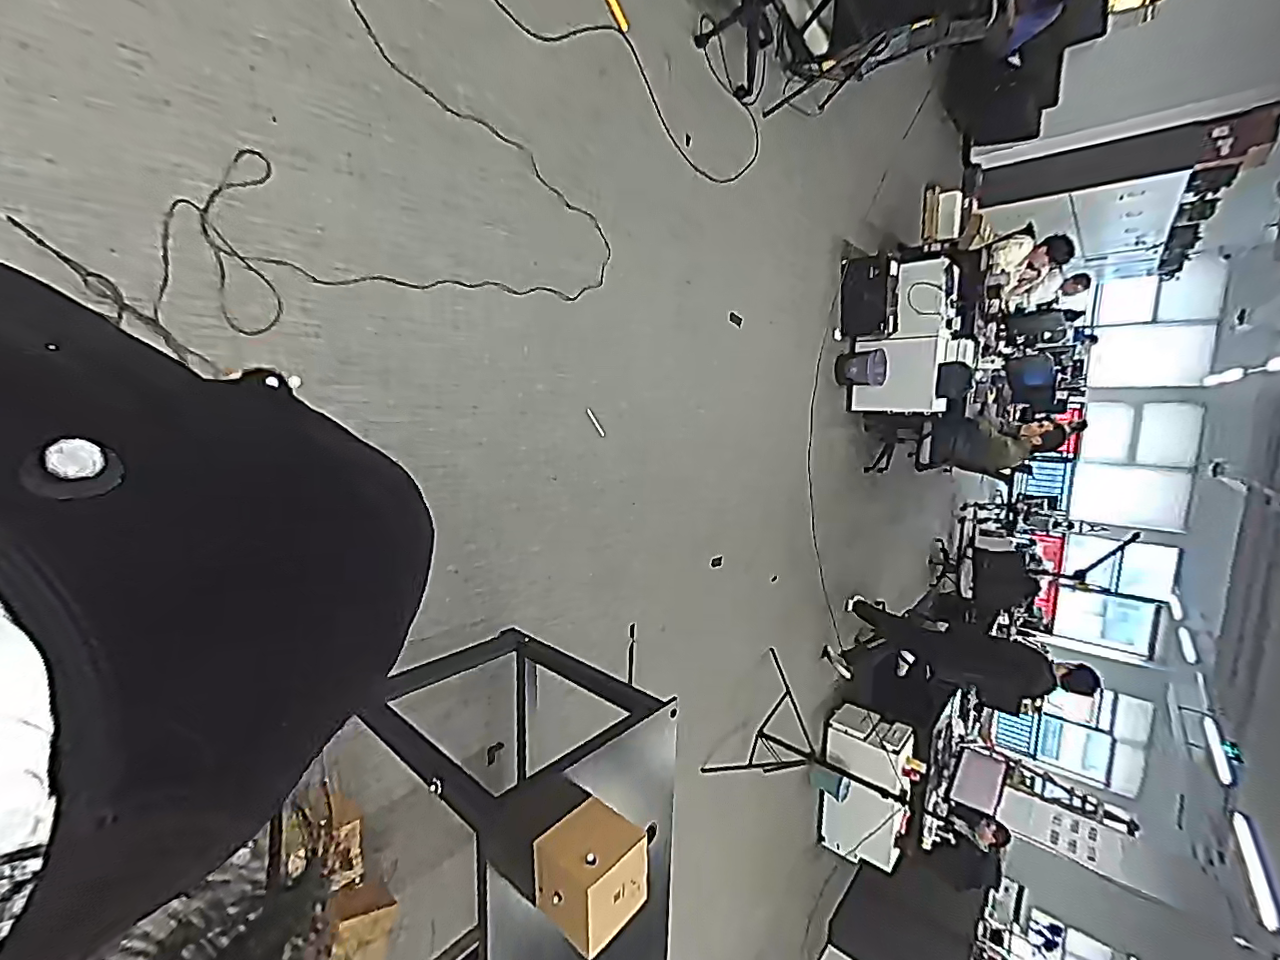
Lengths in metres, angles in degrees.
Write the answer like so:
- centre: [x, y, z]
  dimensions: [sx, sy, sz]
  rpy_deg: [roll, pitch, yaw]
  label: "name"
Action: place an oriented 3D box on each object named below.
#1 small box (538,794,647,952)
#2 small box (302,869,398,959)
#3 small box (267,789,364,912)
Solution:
- centre: [-0.103, 0.821, 1.151]
  dimensions: [0.179, 0.176, 0.168]
  rpy_deg: [-12, 106, -48]
  label: "small box"
- centre: [-0.819, 1.247, 1.519]
  dimensions: [0.168, 0.176, 0.179]
  rpy_deg: [24, 77, -49]
  label: "small box"
- centre: [-0.855, 0.962, 1.427]
  dimensions: [0.179, 0.176, 0.168]
  rpy_deg: [-9, 103, -47]
  label: "small box"
